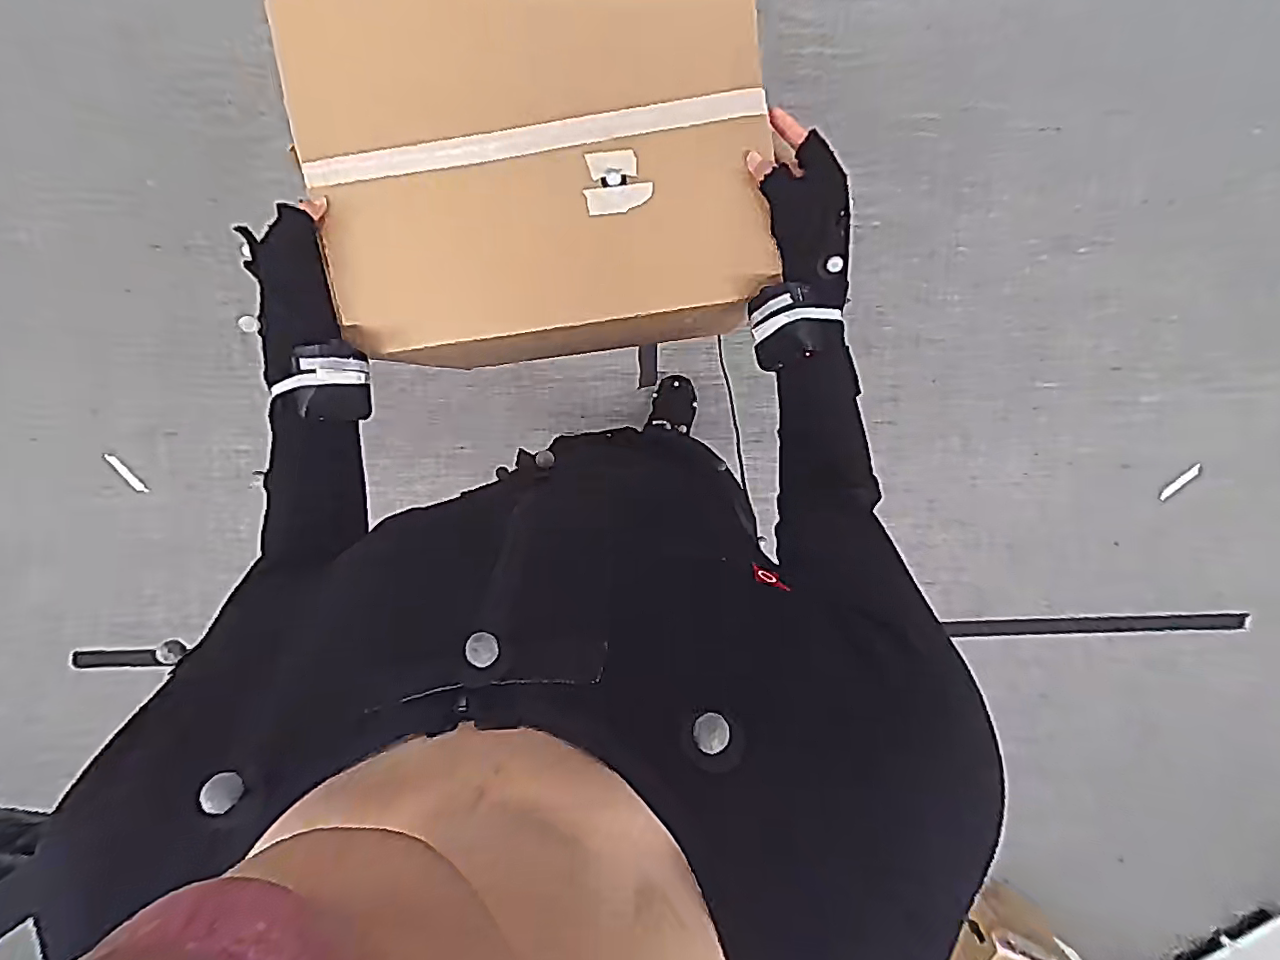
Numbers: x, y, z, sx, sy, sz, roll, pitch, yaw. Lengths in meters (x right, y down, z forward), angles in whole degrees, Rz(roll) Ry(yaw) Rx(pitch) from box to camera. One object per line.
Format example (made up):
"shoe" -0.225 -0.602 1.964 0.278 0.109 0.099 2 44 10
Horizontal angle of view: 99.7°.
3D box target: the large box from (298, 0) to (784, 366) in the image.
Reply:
"large box" -0.083 -0.324 0.632 0.408 0.320 0.320 -8 100 1
